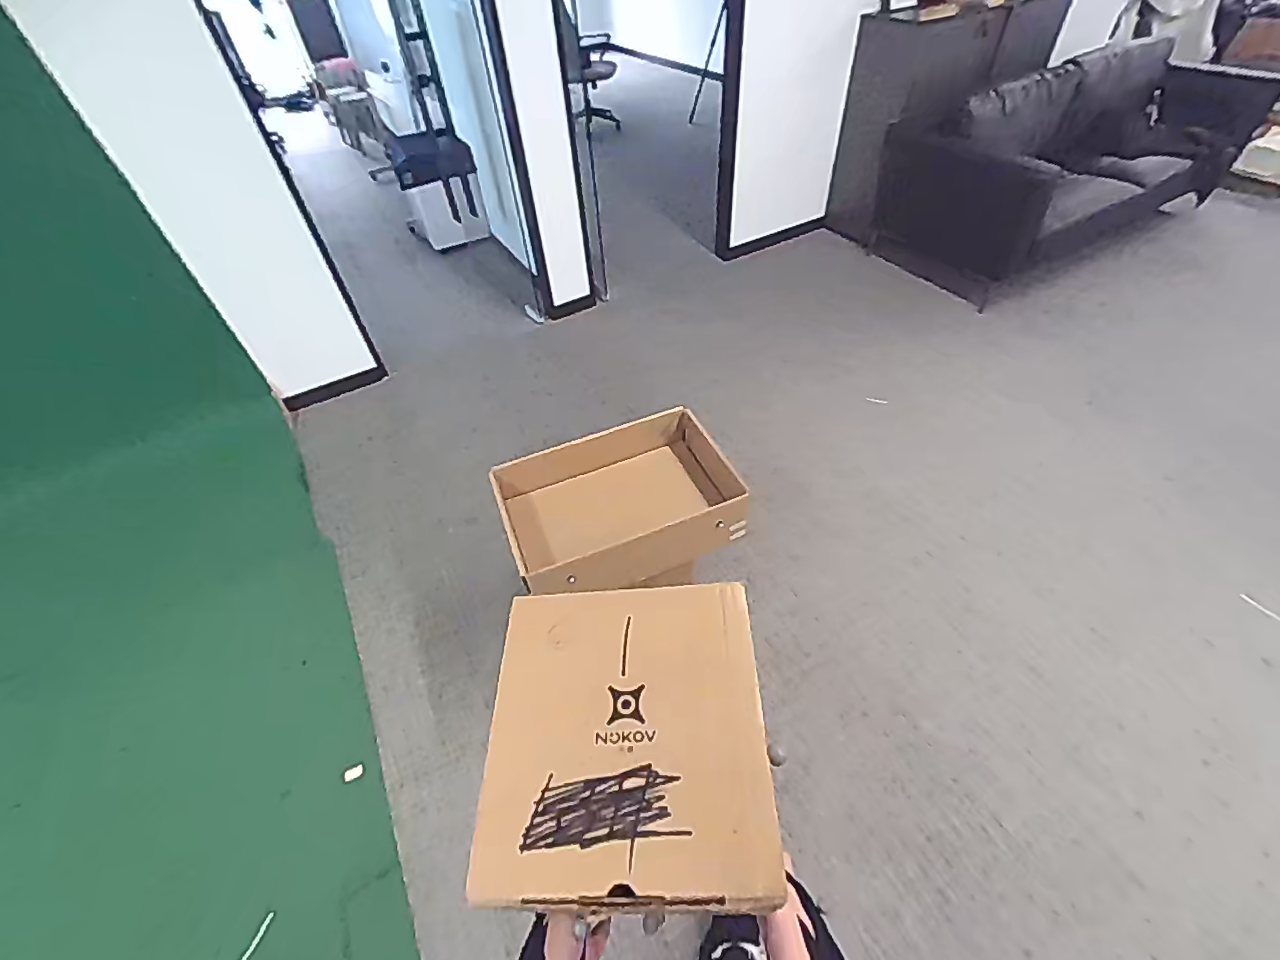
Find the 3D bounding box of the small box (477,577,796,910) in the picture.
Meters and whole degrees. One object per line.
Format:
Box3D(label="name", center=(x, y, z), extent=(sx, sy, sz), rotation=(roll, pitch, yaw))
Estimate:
Box3D(label="small box", center=(0.008, 0.189, 0.379), extent=(0.168, 0.176, 0.179), rotation=(-4, 49, 5))
